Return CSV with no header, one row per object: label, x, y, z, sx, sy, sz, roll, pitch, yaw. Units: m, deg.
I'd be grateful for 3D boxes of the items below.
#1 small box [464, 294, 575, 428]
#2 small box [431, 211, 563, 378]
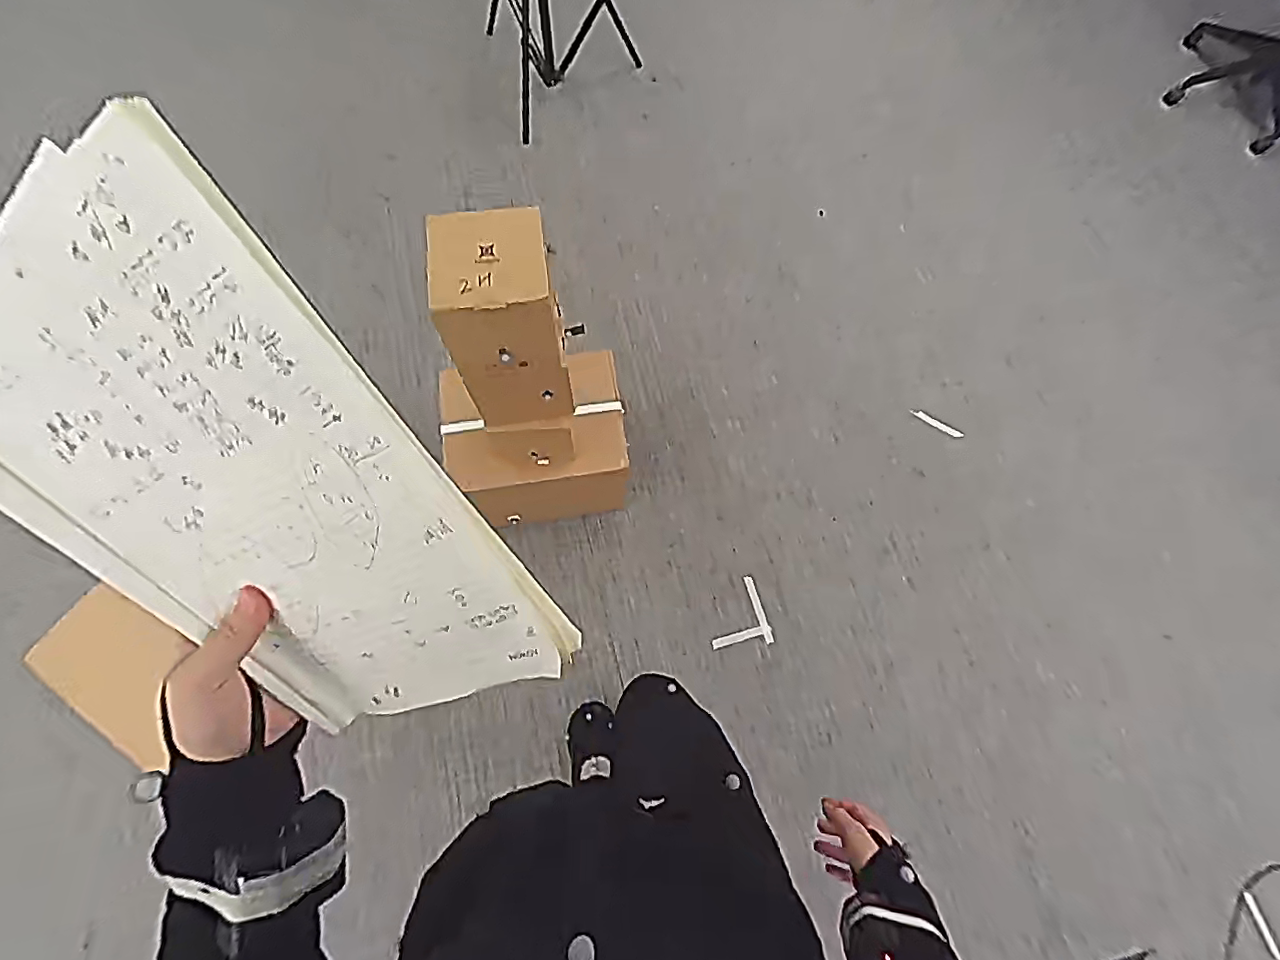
small box,-0.216,-0.213,0.988,0.179,0.176,0.168,-10,69,-5
small box,-0.215,-0.282,0.838,0.168,0.176,0.179,-8,70,-5
